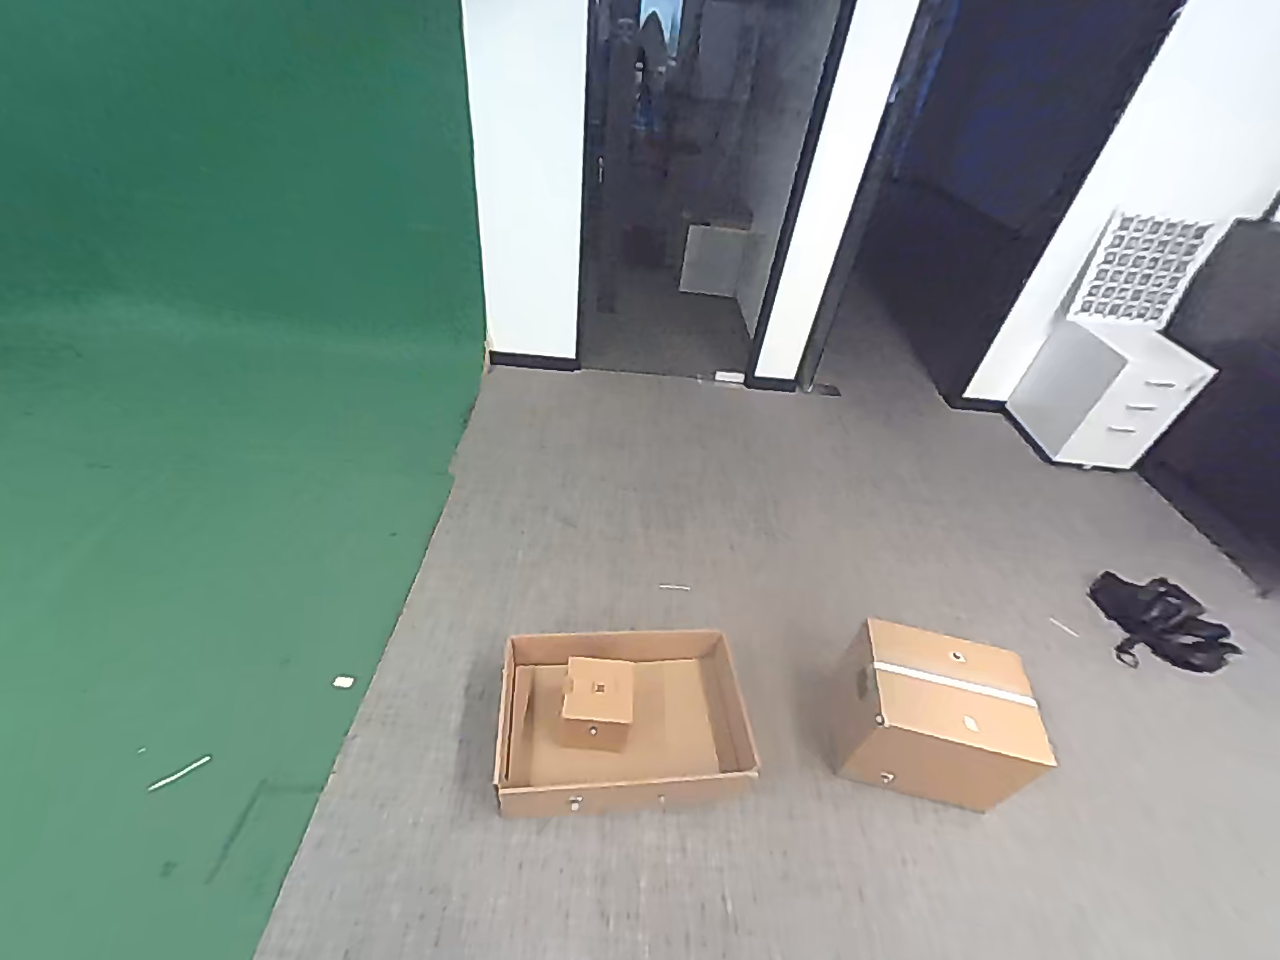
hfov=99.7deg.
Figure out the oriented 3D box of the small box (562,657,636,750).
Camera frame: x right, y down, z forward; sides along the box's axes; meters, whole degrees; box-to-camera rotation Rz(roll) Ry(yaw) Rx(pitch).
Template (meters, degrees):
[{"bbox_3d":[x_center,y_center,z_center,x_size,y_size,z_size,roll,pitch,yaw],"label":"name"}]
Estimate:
[{"bbox_3d":[-0.108,0.587,1.414,0.179,0.176,0.168,7,41,-5],"label":"small box"}]
